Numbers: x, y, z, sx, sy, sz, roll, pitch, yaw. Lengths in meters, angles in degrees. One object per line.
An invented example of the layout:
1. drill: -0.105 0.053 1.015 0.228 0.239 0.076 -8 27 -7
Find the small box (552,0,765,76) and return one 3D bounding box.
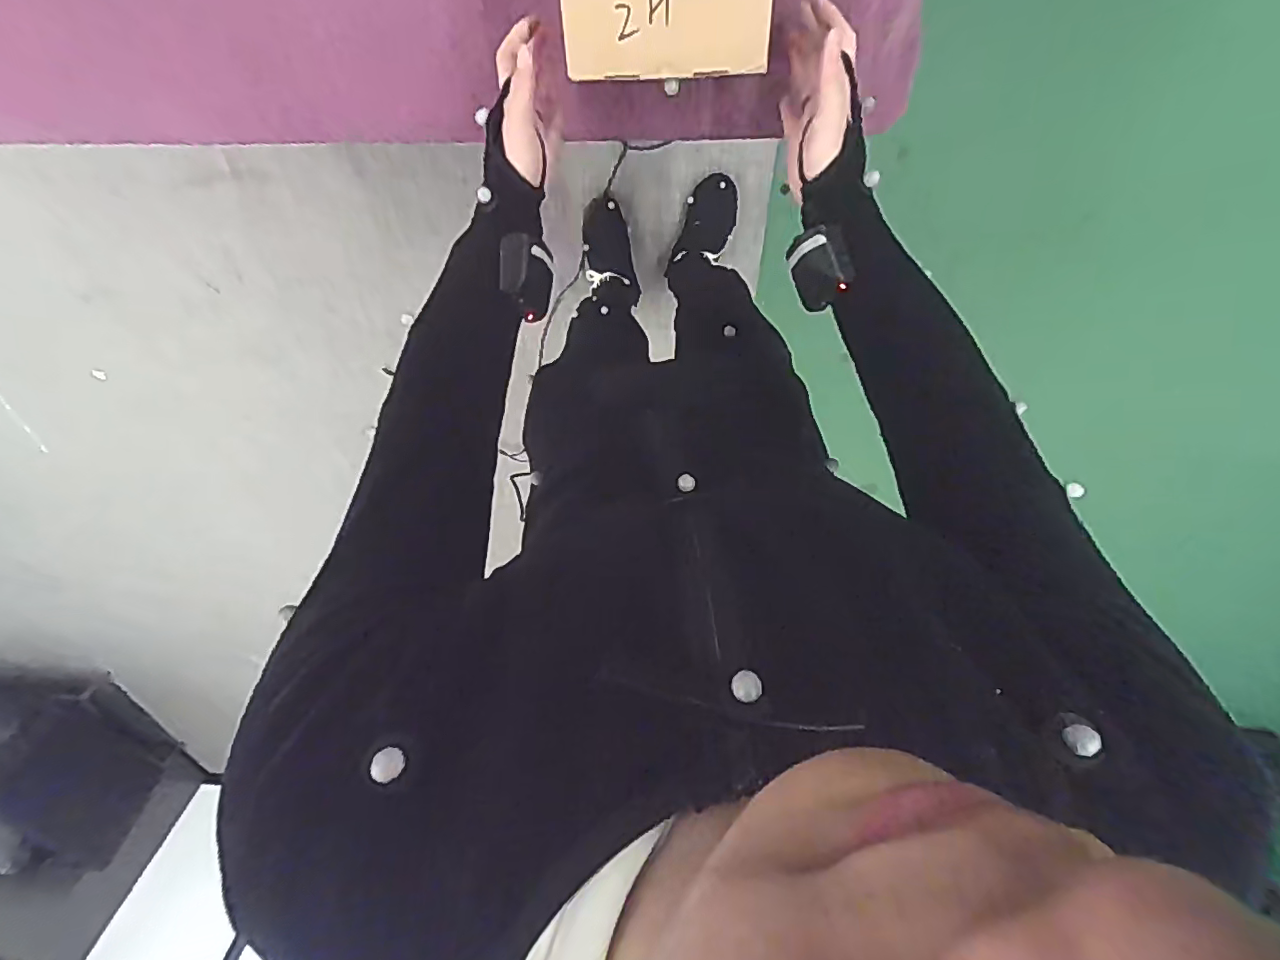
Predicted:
1. small box: 0.019 -0.447 0.448 0.168 0.176 0.179 2 128 6
